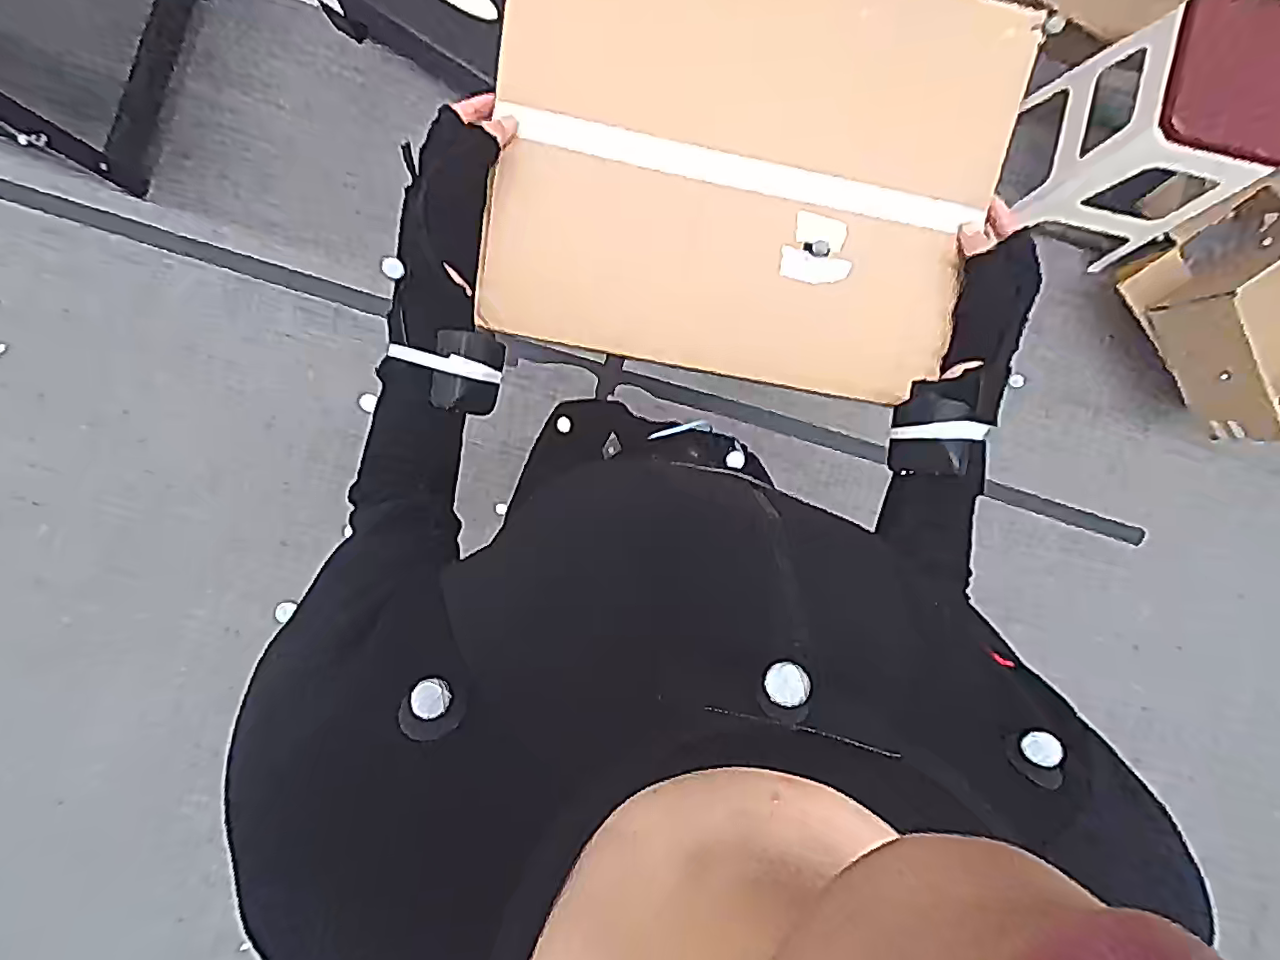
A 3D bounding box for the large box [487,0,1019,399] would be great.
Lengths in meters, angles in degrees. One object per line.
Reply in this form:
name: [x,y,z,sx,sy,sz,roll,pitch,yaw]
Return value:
large box: [0.075,-0.284,0.589,0.408,0.320,0.320,9,104,-7]
